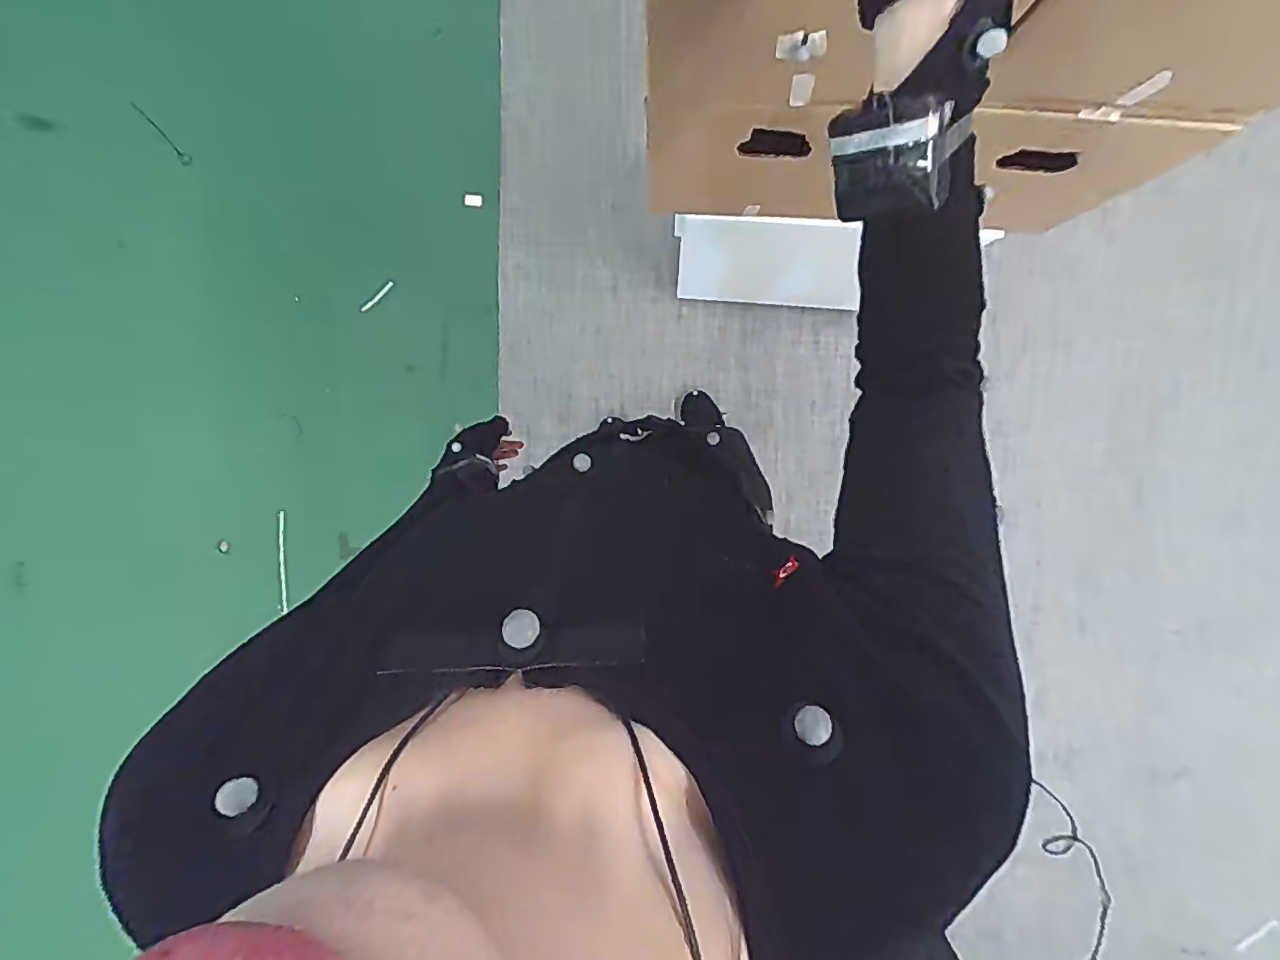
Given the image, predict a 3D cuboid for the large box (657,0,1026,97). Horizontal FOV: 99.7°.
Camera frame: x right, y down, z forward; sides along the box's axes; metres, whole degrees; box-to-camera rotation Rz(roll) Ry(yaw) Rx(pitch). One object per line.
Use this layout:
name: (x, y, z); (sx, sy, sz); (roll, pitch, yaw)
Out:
large box: (0.158, -0.576, 0.381); (0.320, 0.320, 0.408); (0, 94, 2)
